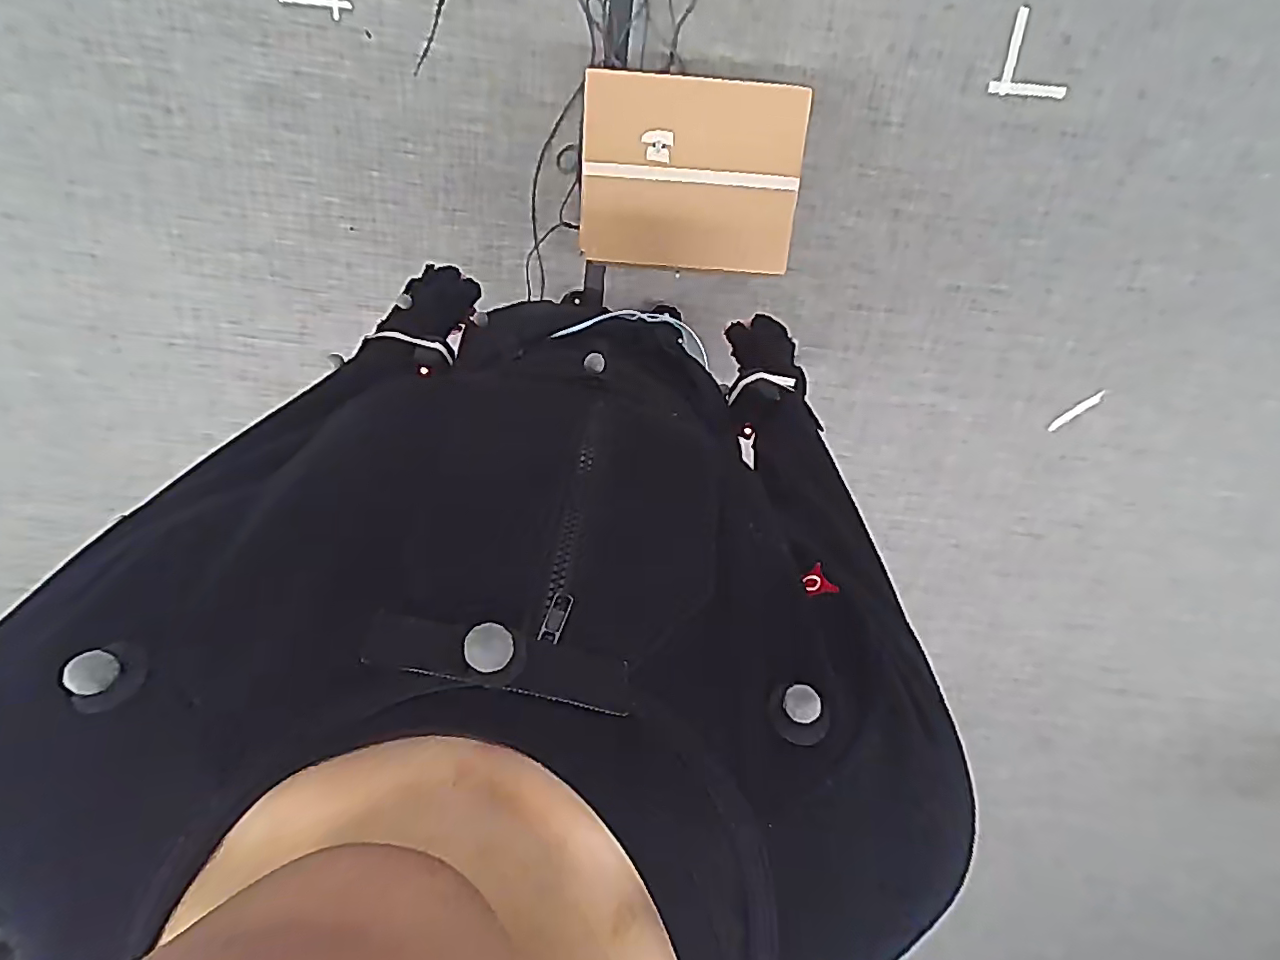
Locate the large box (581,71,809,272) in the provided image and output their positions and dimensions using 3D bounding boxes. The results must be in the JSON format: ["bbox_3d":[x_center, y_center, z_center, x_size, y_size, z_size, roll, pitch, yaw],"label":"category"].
[{"bbox_3d":[0.097,-0.616,1.144,0.408,0.320,0.320,5,109,-1],"label":"large box"}]
